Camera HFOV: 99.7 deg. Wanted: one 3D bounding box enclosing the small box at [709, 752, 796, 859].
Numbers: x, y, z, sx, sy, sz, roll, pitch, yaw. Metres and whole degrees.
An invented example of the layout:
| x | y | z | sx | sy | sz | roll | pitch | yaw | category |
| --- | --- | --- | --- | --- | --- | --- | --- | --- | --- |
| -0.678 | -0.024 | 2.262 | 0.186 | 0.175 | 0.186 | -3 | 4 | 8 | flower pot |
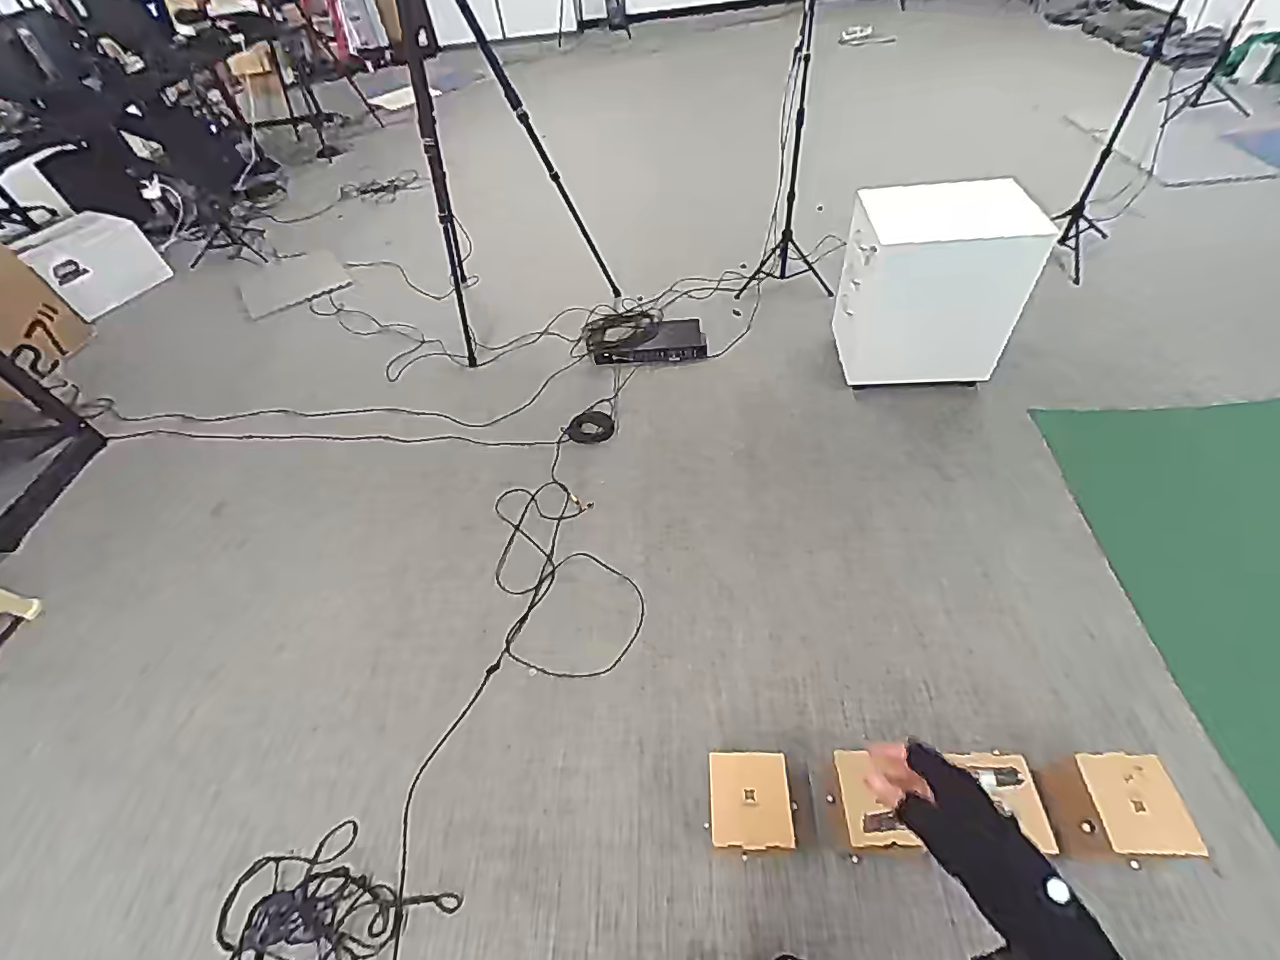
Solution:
| x | y | z | sx | sy | sz | roll | pitch | yaw | category |
| --- | --- | --- | --- | --- | --- | --- | --- | --- | --- |
| 0.238 | 0.715 | 1.188 | 0.168 | 0.176 | 0.179 | -3 | 50 | 6 | small box |

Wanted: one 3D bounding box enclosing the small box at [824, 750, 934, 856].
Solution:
| x | y | z | sx | sy | sz | roll | pitch | yaw | category |
| --- | --- | --- | --- | --- | --- | --- | --- | --- | --- |
| 0.502 | 0.697 | 1.163 | 0.168 | 0.176 | 0.179 | -3 | 49 | 6 | small box |

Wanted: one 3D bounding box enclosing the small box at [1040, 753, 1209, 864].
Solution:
| x | y | z | sx | sy | sz | roll | pitch | yaw | category |
| --- | --- | --- | --- | --- | --- | --- | --- | --- | --- |
| 0.981 | 0.681 | 1.116 | 0.168 | 0.176 | 0.179 | -2 | 50 | 6 | small box |
